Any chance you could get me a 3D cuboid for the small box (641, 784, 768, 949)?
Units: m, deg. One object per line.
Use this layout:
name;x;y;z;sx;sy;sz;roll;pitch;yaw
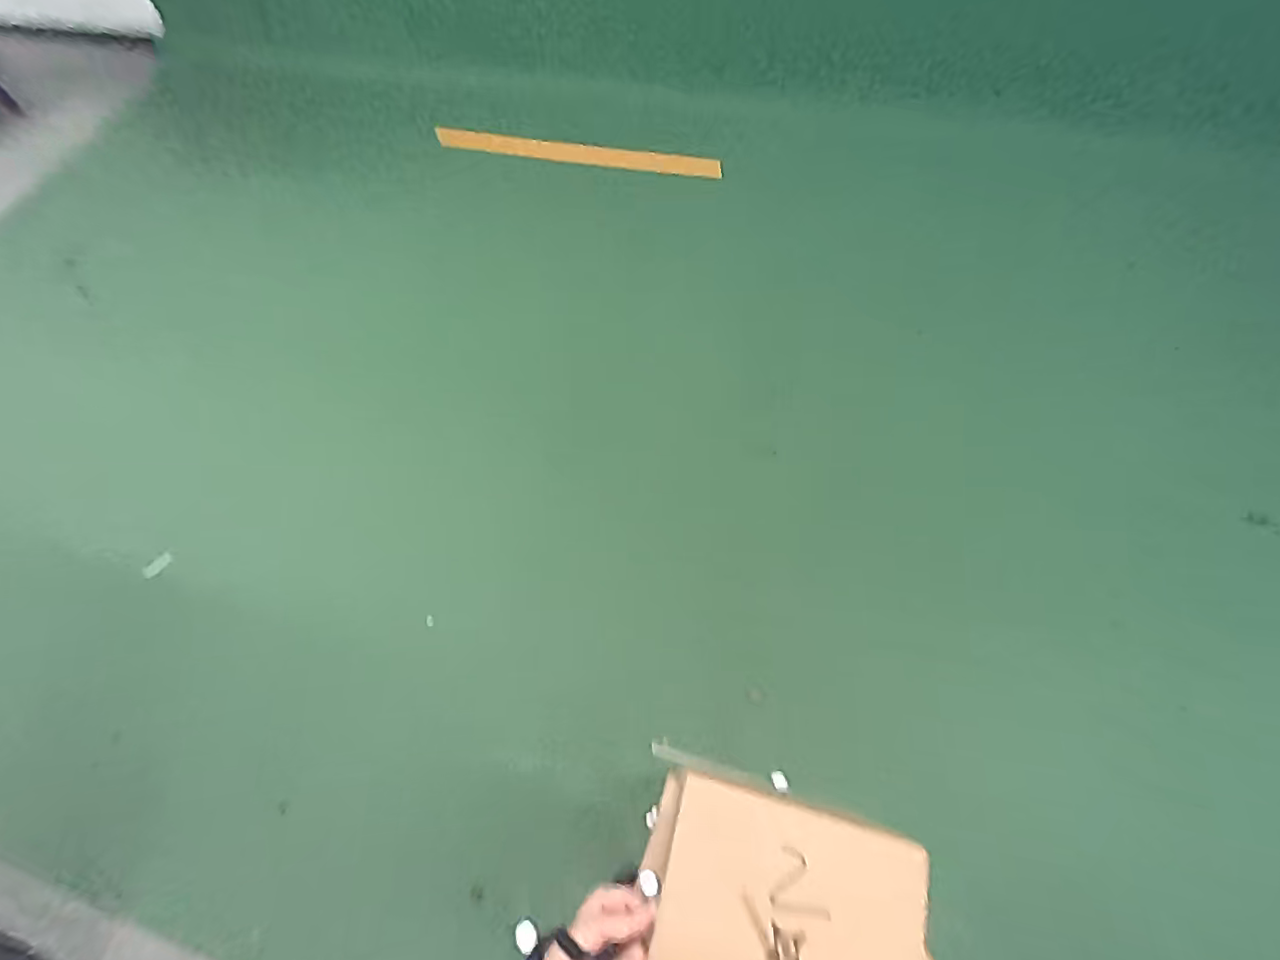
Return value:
small box;0.110;0.645;0.932;0.168;0.176;0.179;16;65;14
